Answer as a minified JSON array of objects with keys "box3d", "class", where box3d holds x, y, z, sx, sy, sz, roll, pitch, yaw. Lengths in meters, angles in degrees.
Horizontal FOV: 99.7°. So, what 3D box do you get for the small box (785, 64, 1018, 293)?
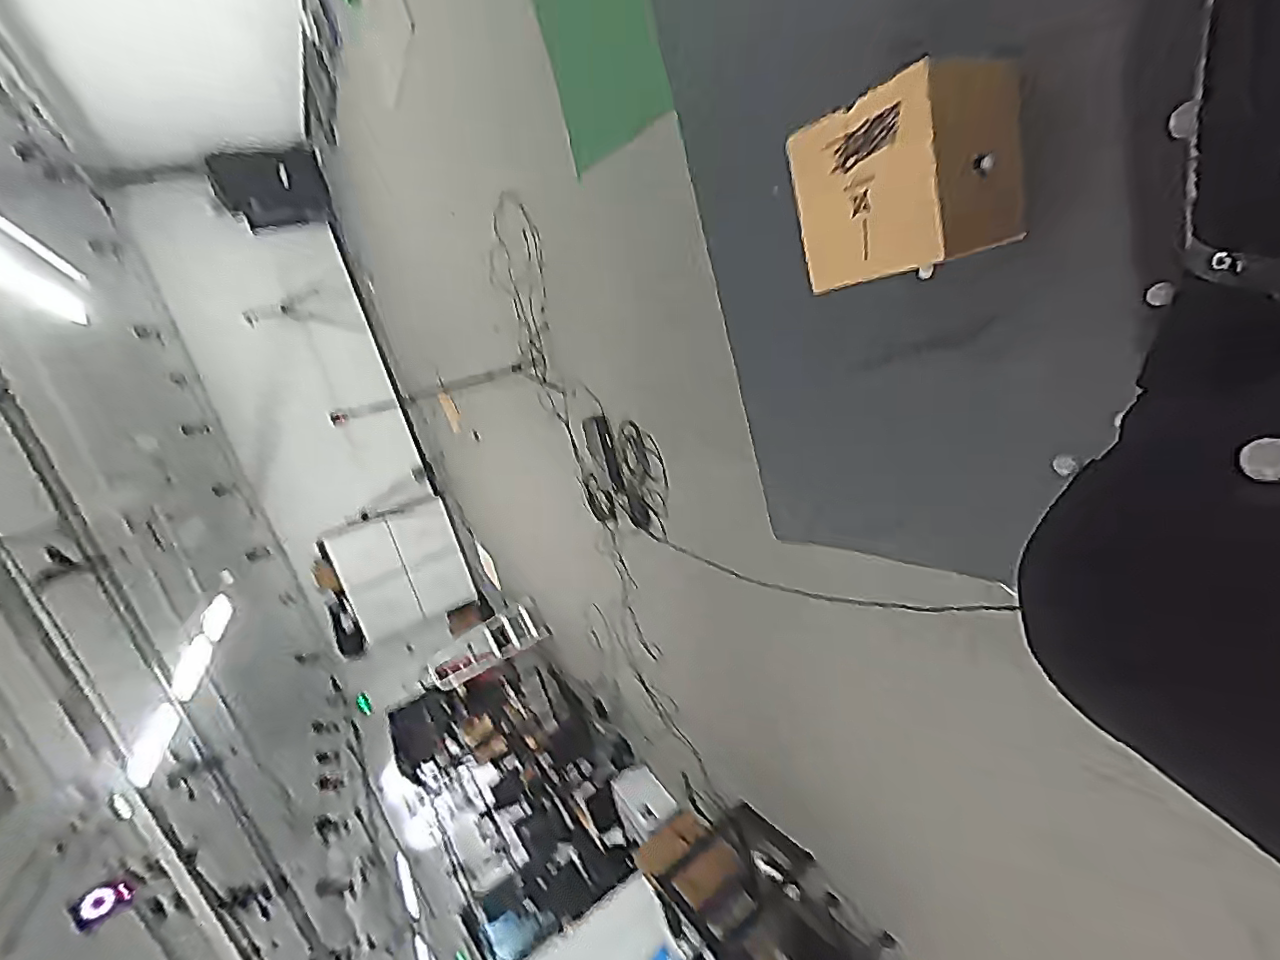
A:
[{"box3d":[0.296,-0.329,0.612,0.168,0.176,0.179,10,120,58],"class":"small box"}]
